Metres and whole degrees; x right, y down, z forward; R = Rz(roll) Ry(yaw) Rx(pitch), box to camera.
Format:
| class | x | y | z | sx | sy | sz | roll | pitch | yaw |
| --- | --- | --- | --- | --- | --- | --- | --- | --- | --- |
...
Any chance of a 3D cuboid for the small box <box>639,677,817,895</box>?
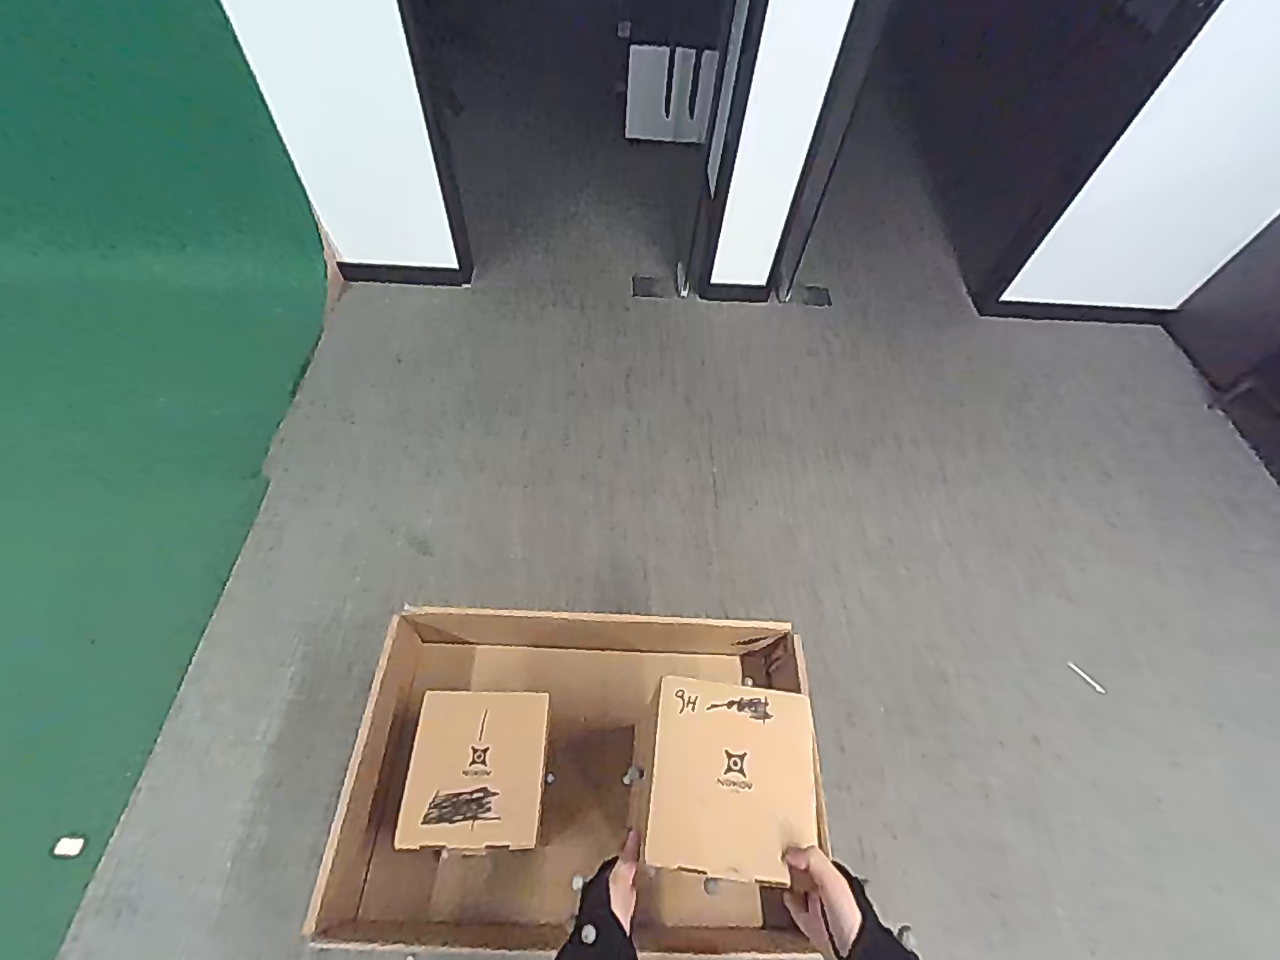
| class | x | y | z | sx | sy | sz | roll | pitch | yaw |
| --- | --- | --- | --- | --- | --- | --- | --- | --- | --- |
| small box | 0.091 | 0.343 | 0.612 | 0.168 | 0.176 | 0.179 | 8 | 56 | 1 |
